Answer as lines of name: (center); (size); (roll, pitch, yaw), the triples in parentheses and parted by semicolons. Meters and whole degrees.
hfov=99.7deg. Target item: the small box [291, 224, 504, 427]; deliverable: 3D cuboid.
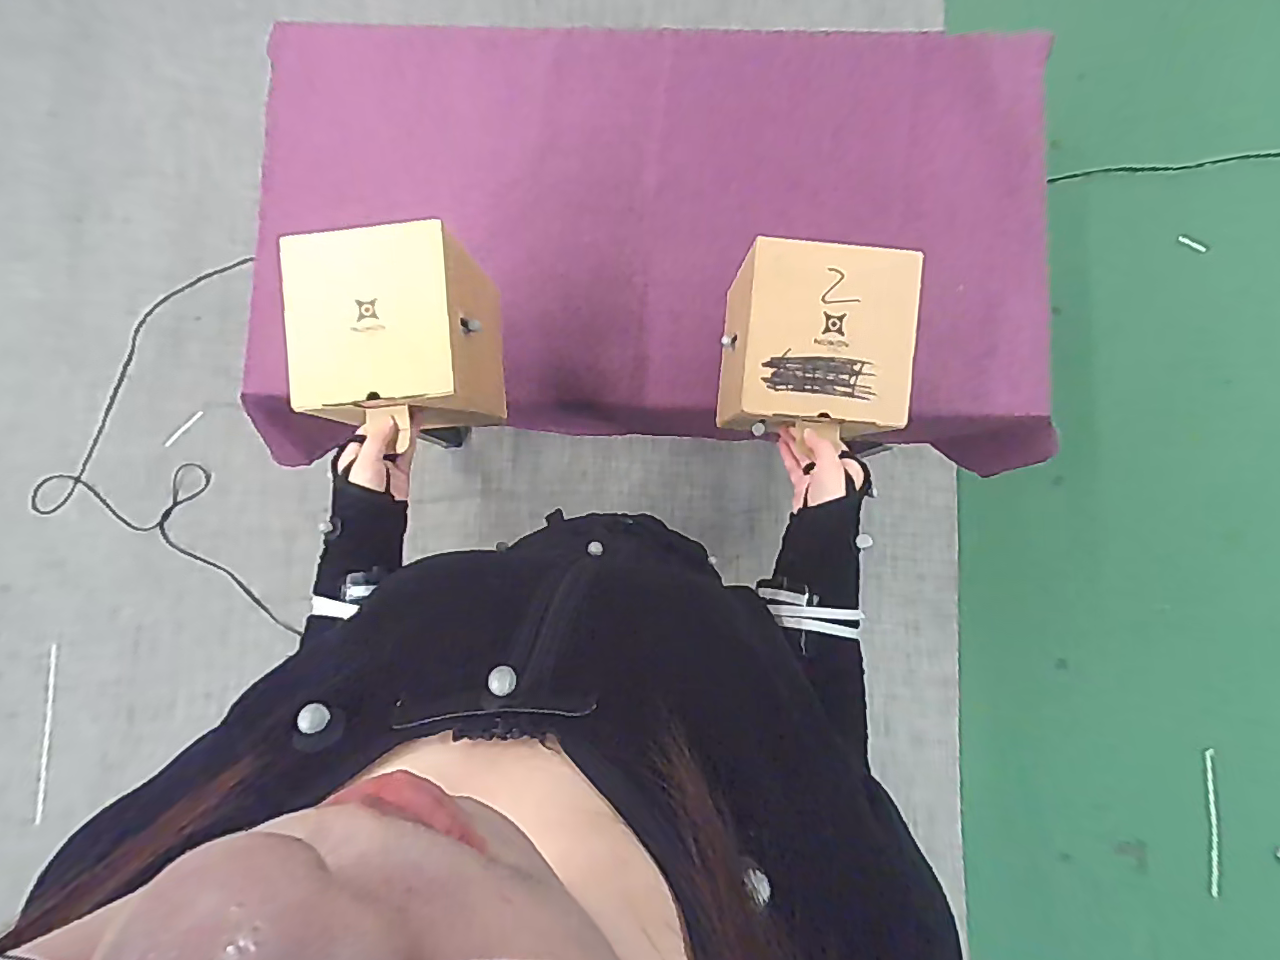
small box: (-0.265, -0.164, 0.625); (0.168, 0.176, 0.179); (-5, 89, 3)
